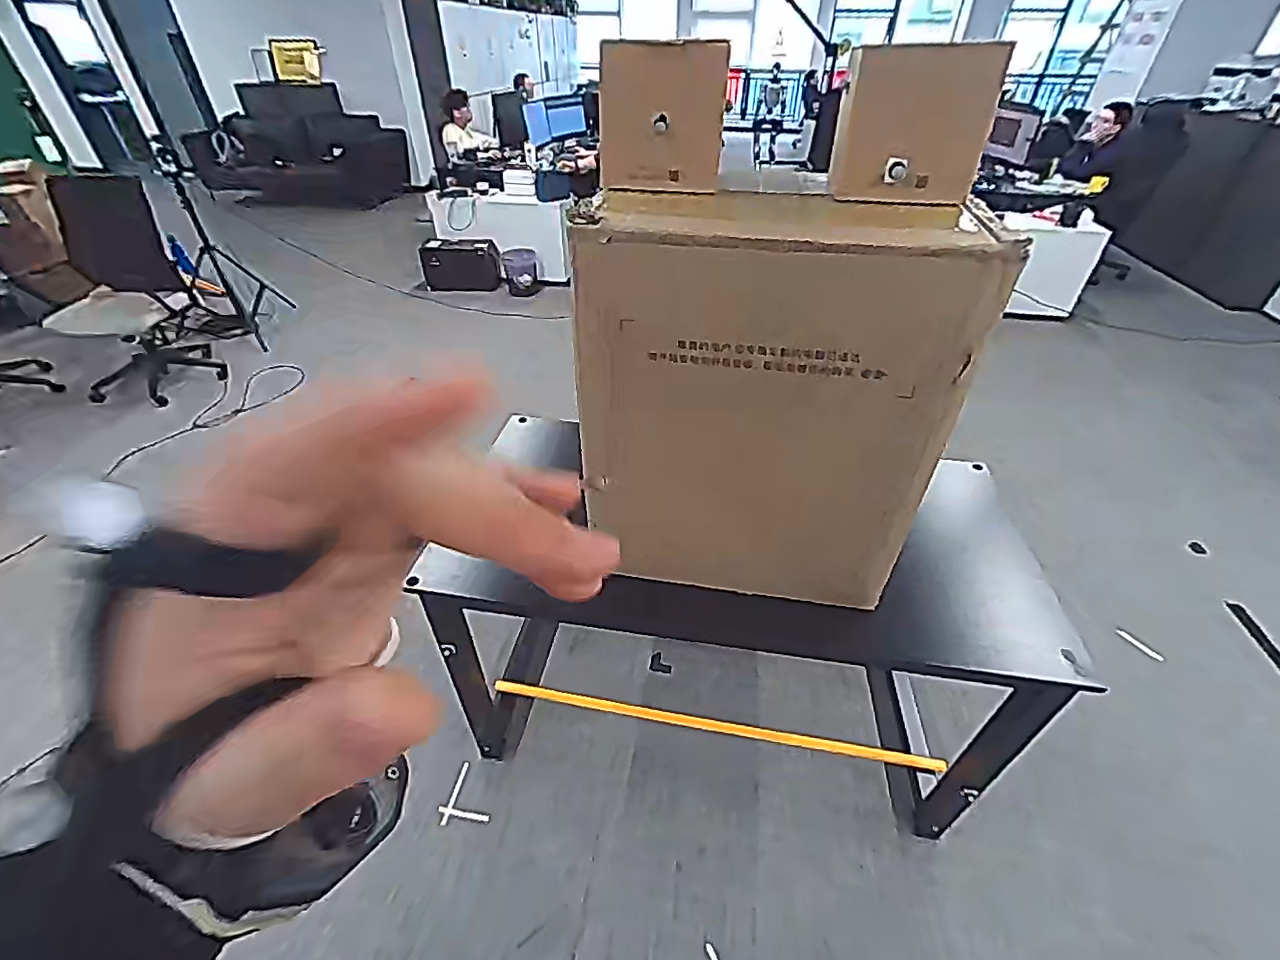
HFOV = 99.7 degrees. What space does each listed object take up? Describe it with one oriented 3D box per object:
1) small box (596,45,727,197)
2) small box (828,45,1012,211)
[{"bbox_3d":[0.034,-0.516,0.777,0.168,0.176,0.179,4,39,3],"label":"small box"},{"bbox_3d":[0.355,-0.475,0.730,0.168,0.176,0.179,6,38,11],"label":"small box"}]
